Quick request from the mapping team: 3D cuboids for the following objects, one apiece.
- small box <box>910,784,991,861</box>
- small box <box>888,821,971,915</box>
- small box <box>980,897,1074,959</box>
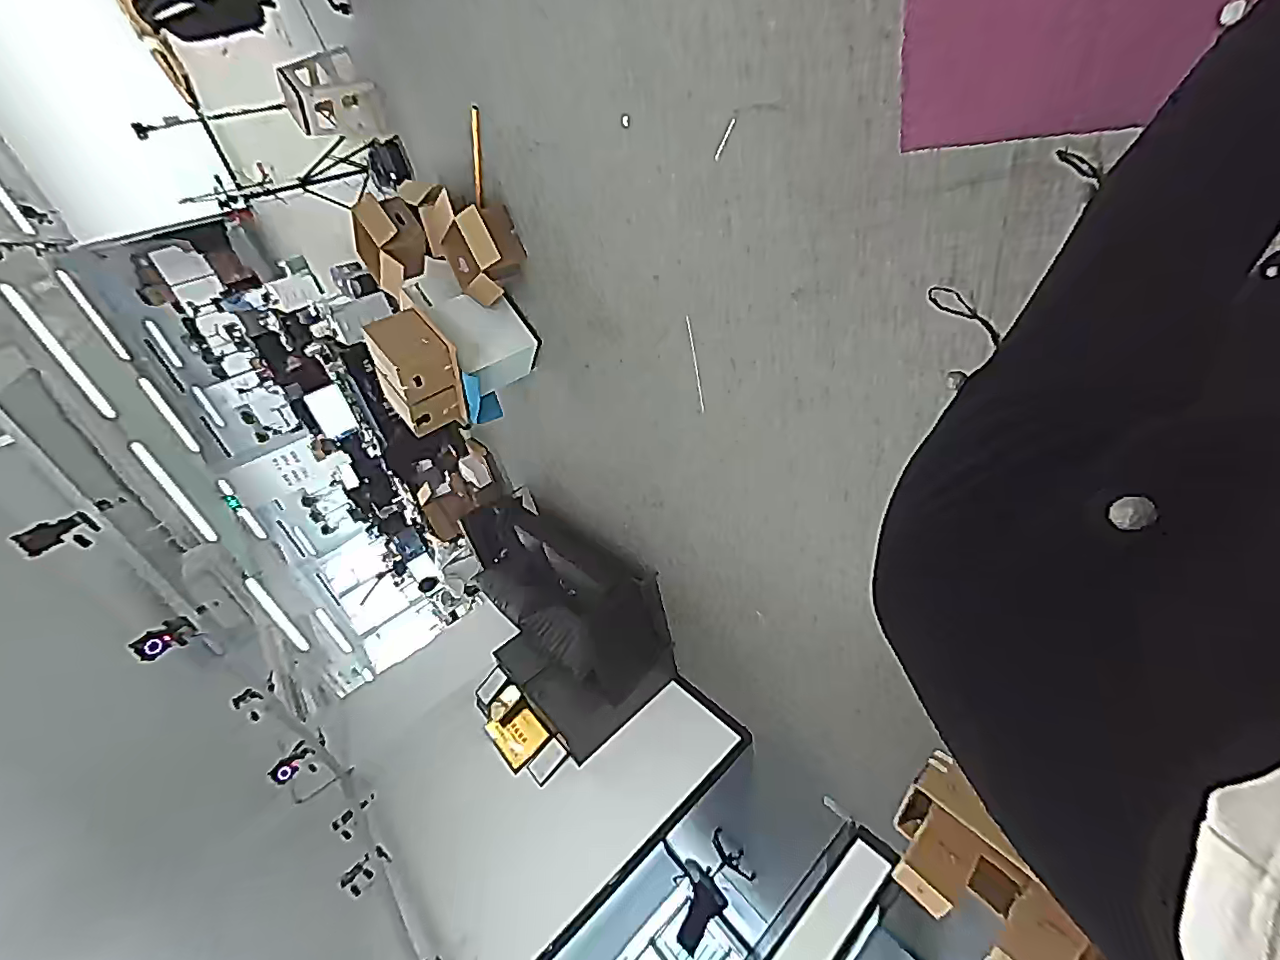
[{"bbox_3d":[1.078,1.203,1.875,0.168,0.176,0.179,34,145,35],"label":"small box"},{"bbox_3d":[0.961,1.285,1.795,0.168,0.176,0.179,34,145,36],"label":"small box"},{"bbox_3d":[1.156,1.407,1.615,0.168,0.176,0.179,28,142,40],"label":"small box"}]
